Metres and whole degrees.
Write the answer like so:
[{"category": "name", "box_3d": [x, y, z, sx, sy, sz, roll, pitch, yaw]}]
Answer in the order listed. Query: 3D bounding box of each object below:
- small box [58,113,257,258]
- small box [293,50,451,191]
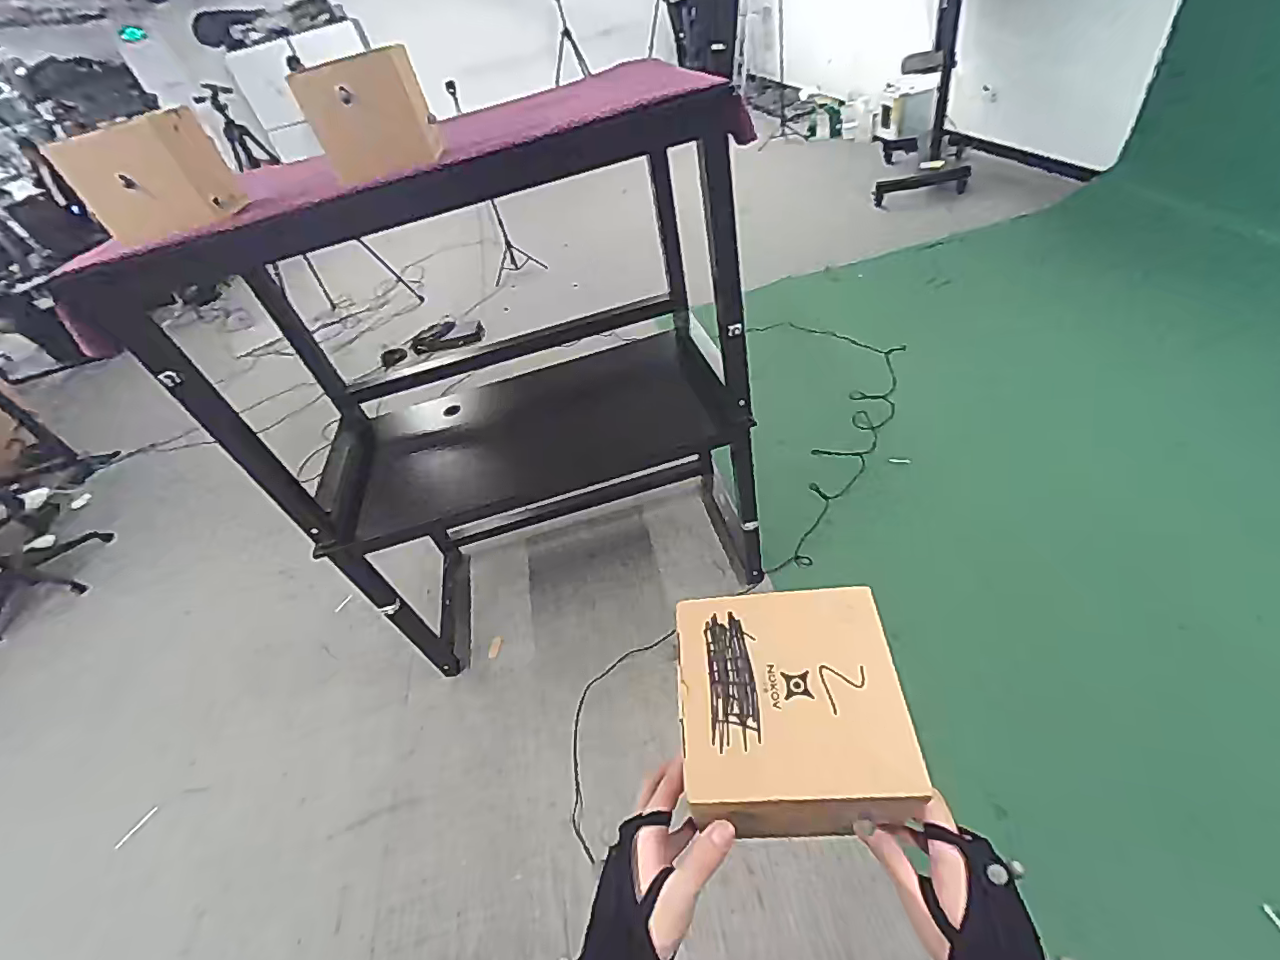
[{"category": "small box", "box_3d": [-0.842, -0.527, 0.971, 0.179, 0.176, 0.168, -18, 42, -1]}, {"category": "small box", "box_3d": [-0.467, -0.643, 0.971, 0.179, 0.176, 0.168, -16, 42, 1]}]
